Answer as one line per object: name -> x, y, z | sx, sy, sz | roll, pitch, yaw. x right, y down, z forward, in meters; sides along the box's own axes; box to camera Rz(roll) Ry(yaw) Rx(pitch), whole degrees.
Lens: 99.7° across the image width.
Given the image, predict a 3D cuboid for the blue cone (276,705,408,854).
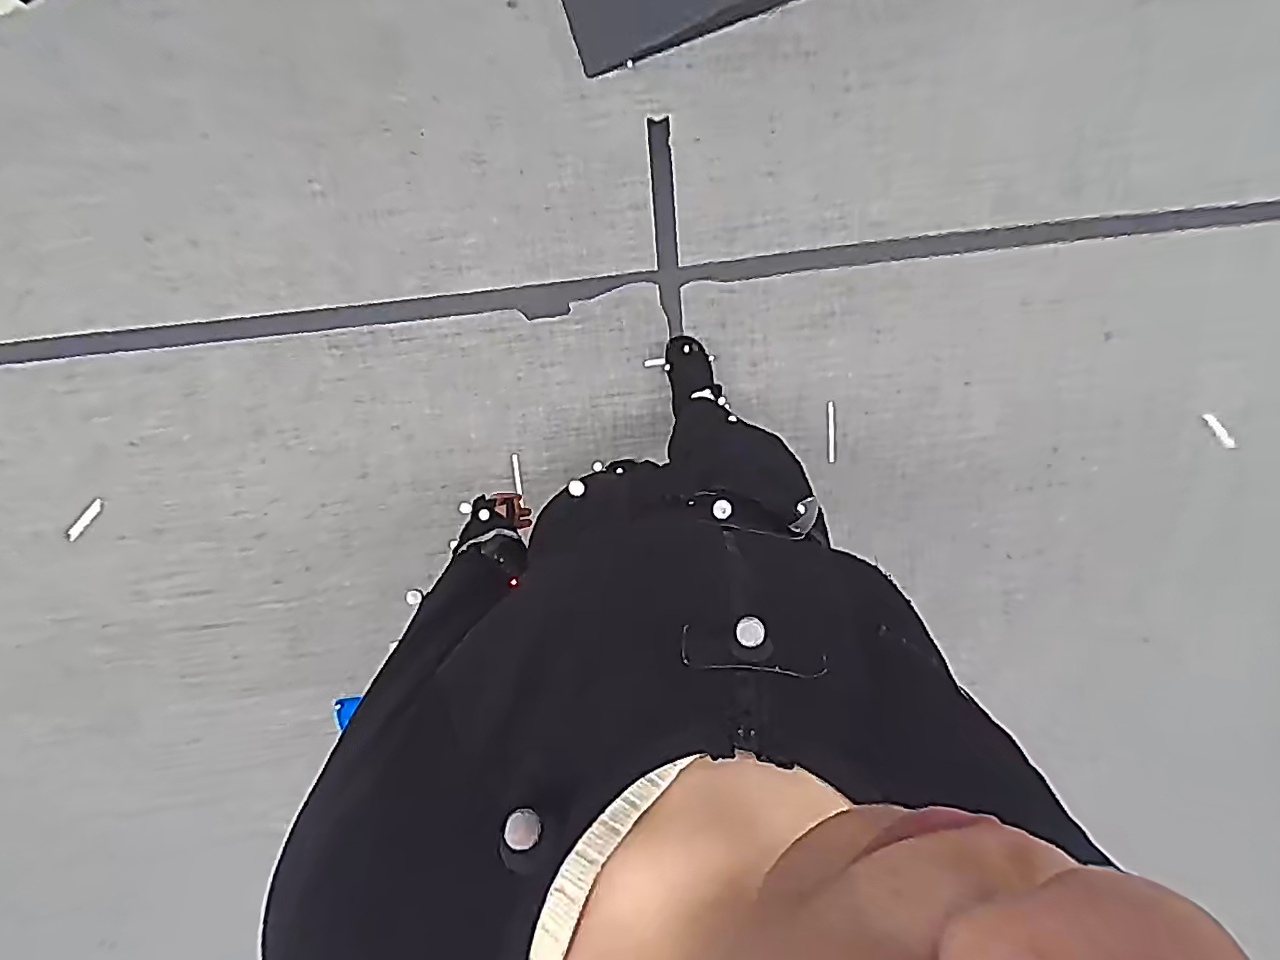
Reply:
blue cone -> -0.730, 0.727, 1.303 | 0.192, 0.380, 0.193 | -5, 101, 0
